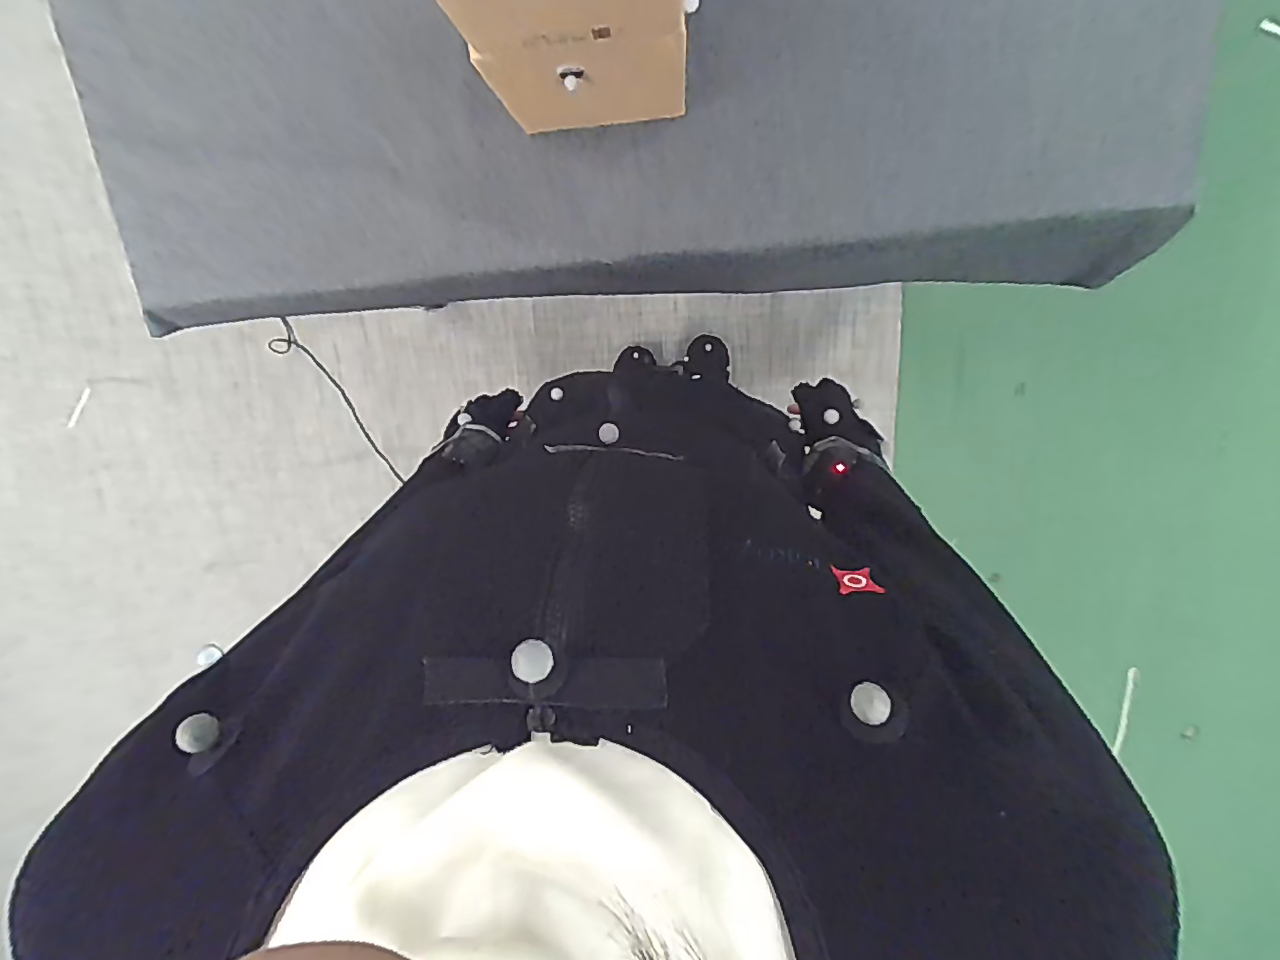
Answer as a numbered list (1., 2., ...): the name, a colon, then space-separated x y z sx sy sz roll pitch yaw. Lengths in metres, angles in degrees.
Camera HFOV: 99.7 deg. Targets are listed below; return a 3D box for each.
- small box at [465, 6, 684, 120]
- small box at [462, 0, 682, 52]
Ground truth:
1. small box: -0.051 -0.454 0.491 0.179 0.176 0.168 -3 105 5
2. small box: -0.058 -0.415 0.335 0.168 0.176 0.179 -4 106 5
